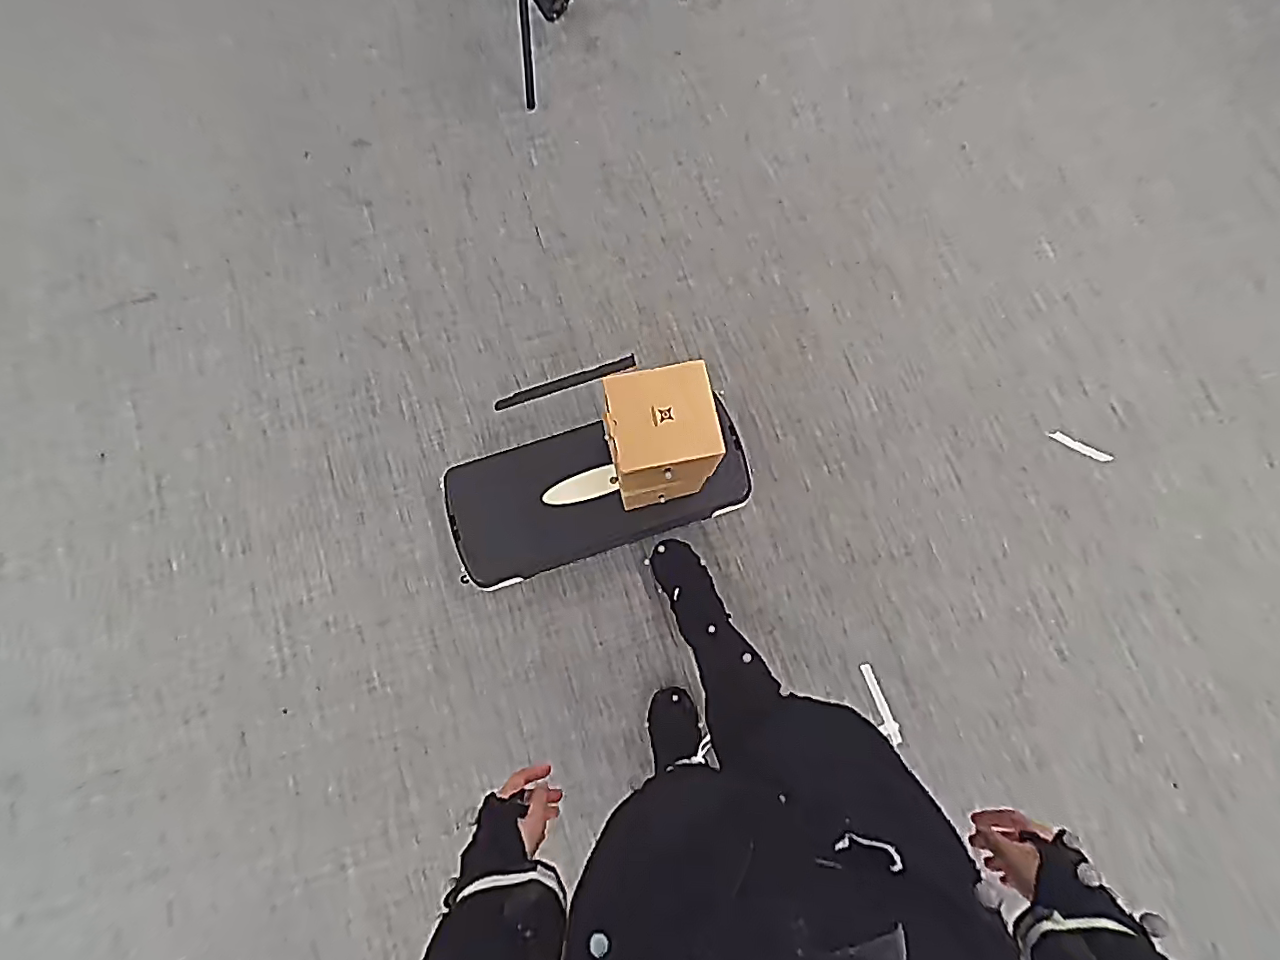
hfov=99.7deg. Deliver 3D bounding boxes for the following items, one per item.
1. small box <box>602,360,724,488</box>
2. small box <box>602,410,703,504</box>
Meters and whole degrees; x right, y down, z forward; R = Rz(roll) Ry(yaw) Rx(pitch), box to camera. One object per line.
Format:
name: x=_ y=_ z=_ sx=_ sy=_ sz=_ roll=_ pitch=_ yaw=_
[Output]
small box: x=0.035 y=-0.091 z=0.951 sx=0.179 sy=0.176 sz=0.168 roll=-11 pitch=79 yaw=-2
small box: x=0.024 y=-0.054 z=1.109 sx=0.168 sy=0.176 sz=0.179 roll=-14 pitch=78 yaw=-3
